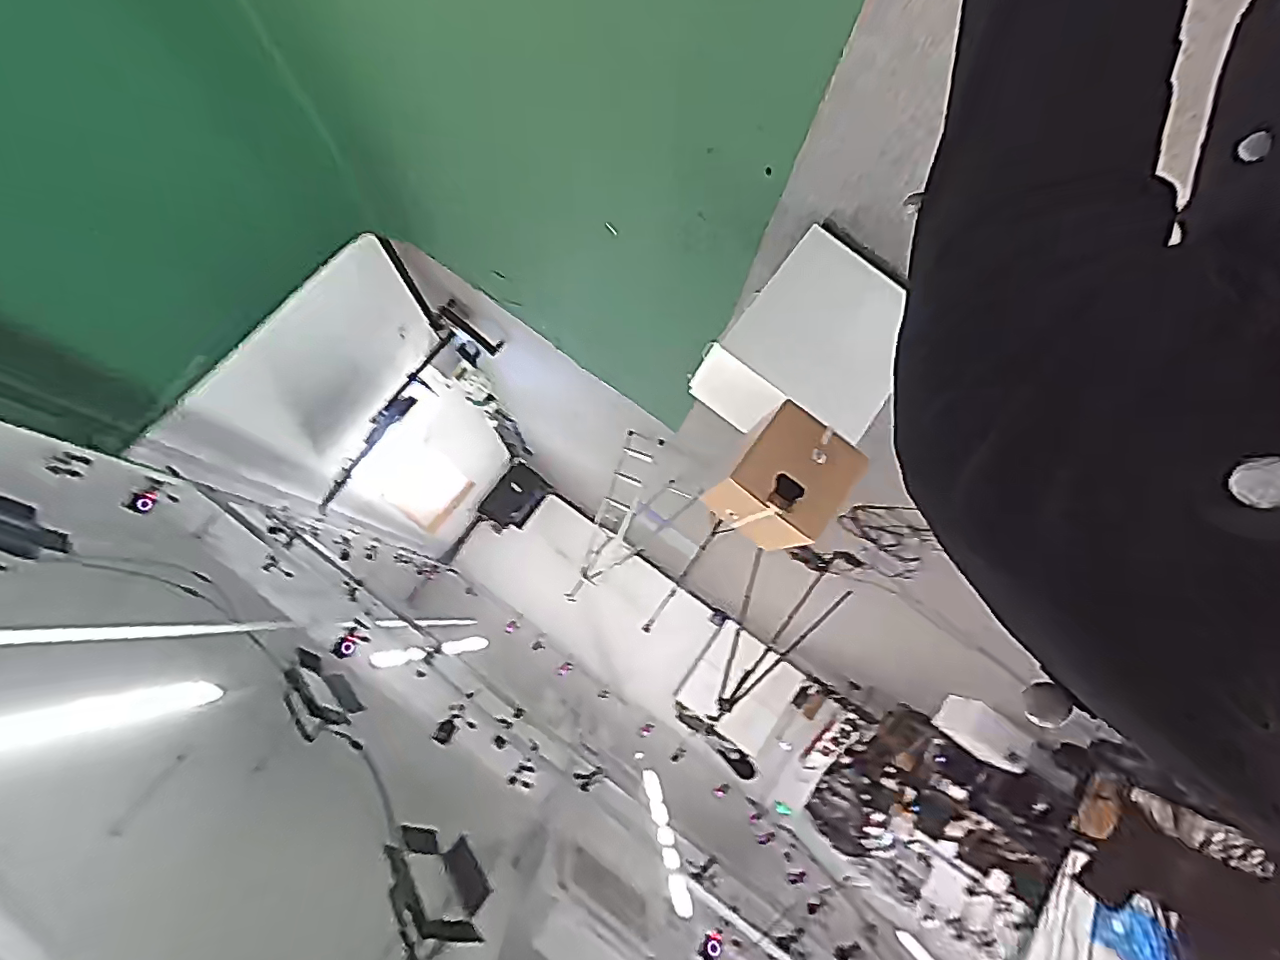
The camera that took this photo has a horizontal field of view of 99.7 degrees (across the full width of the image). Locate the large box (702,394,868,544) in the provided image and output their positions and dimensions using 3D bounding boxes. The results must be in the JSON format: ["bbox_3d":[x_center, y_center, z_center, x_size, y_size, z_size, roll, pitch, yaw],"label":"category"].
[{"bbox_3d":[0.447,-0.017,1.743,0.320,0.320,0.408,38,168,1],"label":"large box"}]
